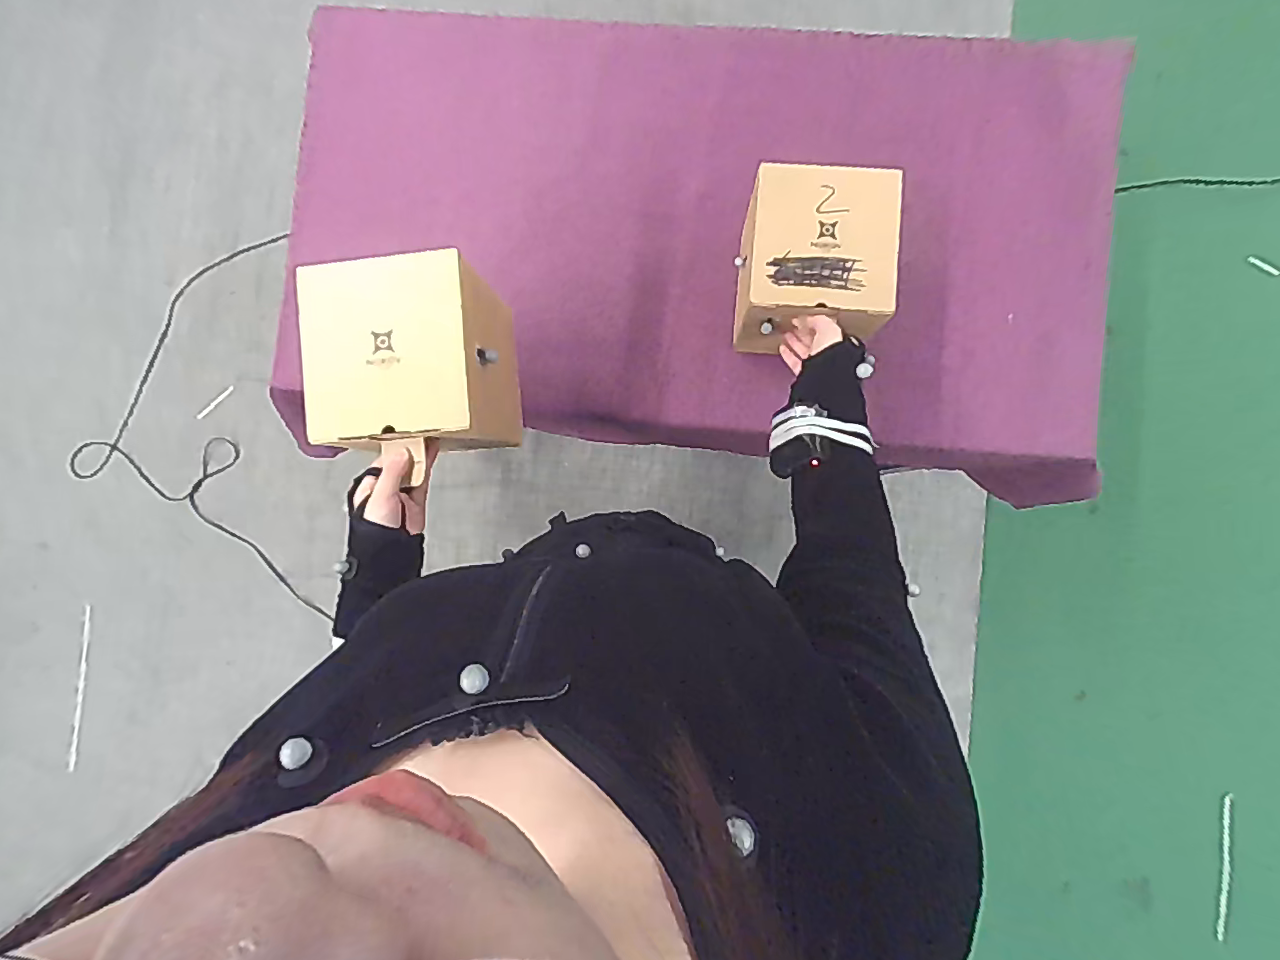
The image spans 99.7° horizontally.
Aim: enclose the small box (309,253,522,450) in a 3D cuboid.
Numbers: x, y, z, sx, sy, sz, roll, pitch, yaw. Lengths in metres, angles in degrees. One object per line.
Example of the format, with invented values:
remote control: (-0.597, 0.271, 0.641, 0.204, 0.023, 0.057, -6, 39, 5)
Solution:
small box: (-0.240, -0.132, 0.616, 0.168, 0.176, 0.179, -4, 89, 5)
